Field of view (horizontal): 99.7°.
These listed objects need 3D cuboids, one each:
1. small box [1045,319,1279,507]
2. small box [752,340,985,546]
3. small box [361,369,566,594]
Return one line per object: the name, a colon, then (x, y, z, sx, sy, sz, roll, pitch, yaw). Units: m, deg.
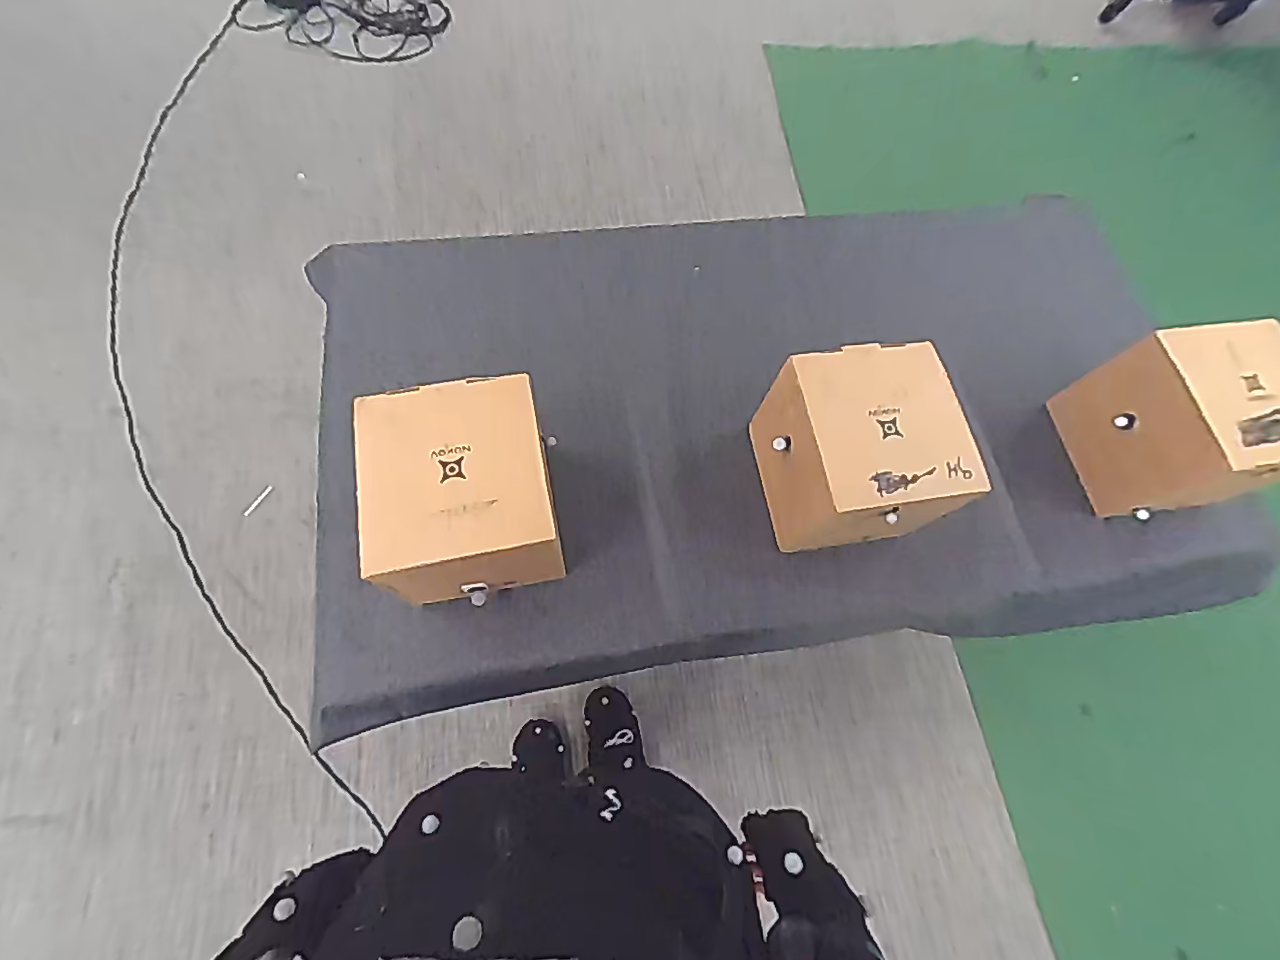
small box: (0.665, -0.072, 0.672, 0.168, 0.176, 0.179, -6, 69, -6)
small box: (0.241, -0.036, 0.626, 0.168, 0.176, 0.179, -7, 70, -7)
small box: (-0.175, 0.009, 0.572, 0.168, 0.176, 0.179, -11, 71, -8)
